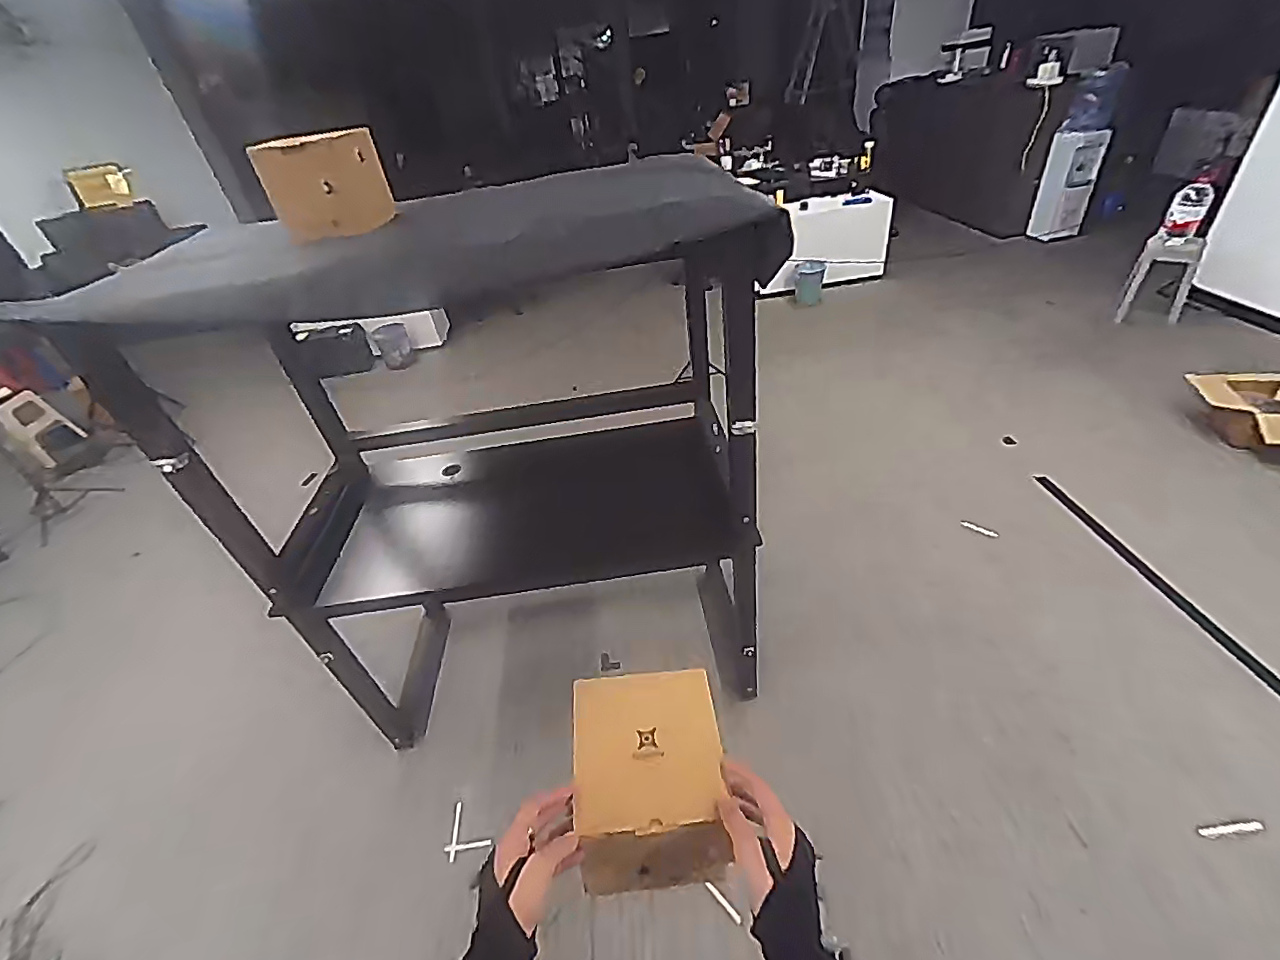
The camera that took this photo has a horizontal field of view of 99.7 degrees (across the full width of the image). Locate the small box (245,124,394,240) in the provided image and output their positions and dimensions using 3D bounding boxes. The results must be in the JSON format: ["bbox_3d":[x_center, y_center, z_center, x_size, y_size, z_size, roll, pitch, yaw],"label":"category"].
[{"bbox_3d":[-0.616,-0.586,1.071,0.168,0.176,0.179,-6,39,2],"label":"small box"}]

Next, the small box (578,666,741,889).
[{"bbox_3d":[0.013,0.351,0.647,0.168,0.176,0.179,-5,39,-4],"label":"small box"}]
